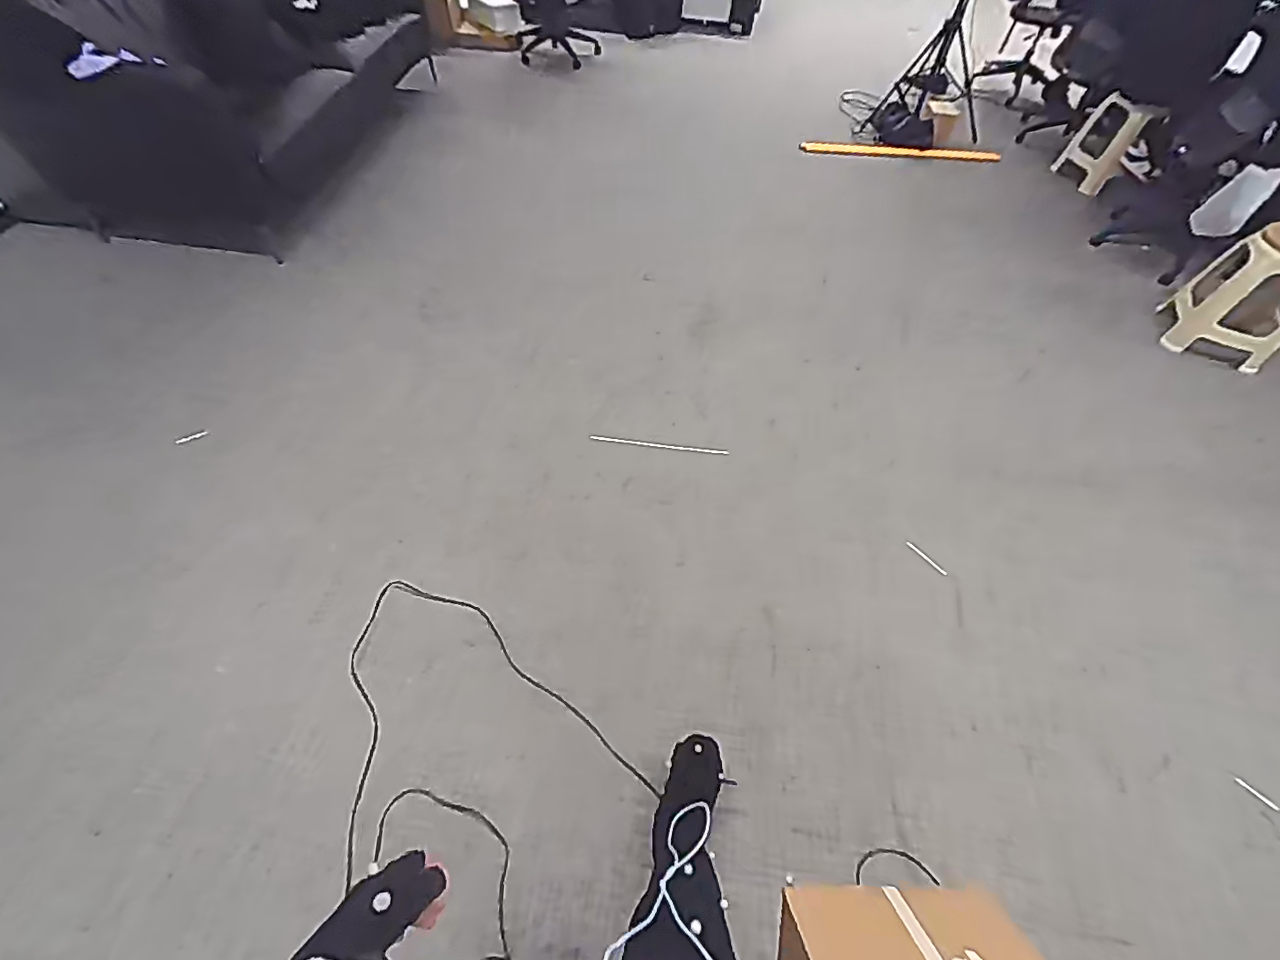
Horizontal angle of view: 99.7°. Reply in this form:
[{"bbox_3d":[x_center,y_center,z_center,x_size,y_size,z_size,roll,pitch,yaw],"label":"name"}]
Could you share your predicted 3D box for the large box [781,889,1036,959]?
[{"bbox_3d":[0.369,0.779,0.617,0.320,0.408,0.320,4,94,-4],"label":"large box"}]
